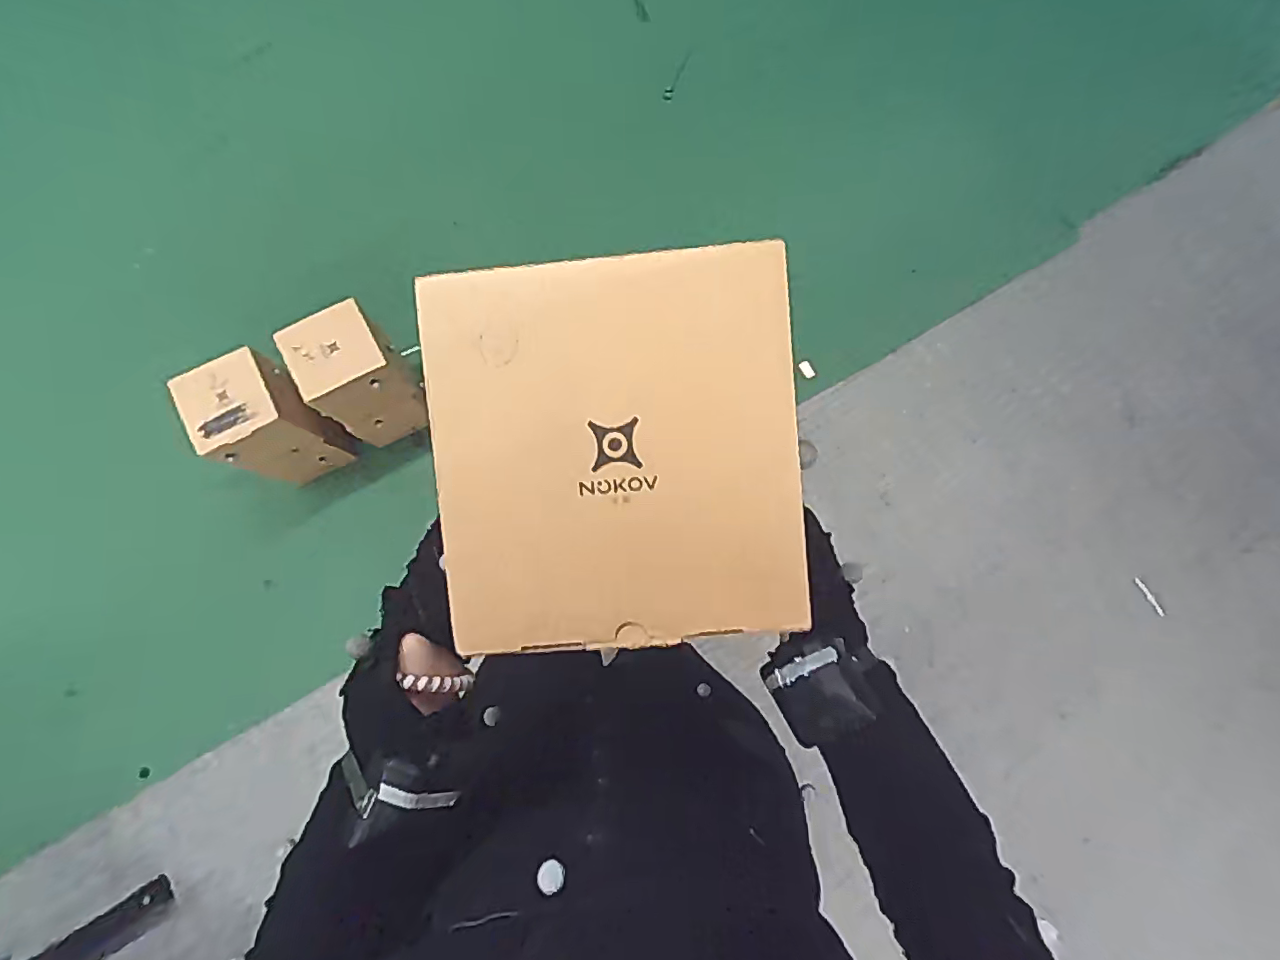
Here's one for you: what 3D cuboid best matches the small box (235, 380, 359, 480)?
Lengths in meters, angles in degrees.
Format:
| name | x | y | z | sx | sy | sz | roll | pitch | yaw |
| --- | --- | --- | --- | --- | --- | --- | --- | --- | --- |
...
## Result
| name | x | y | z | sx | sy | sz | roll | pitch | yaw |
| --- | --- | --- | --- | --- | --- | --- | --- | --- | --- |
| small box | -0.819 | -0.110 | 1.309 | 0.168 | 0.176 | 0.179 | -26 | 82 | -6 |

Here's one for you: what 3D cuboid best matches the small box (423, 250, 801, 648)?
| name | x | y | z | sx | sy | sz | roll | pitch | yaw |
| --- | --- | --- | --- | --- | --- | --- | --- | --- | --- |
| small box | -0.011 | -0.017 | 0.333 | 0.168 | 0.176 | 0.179 | -6 | 94 | 3 |
